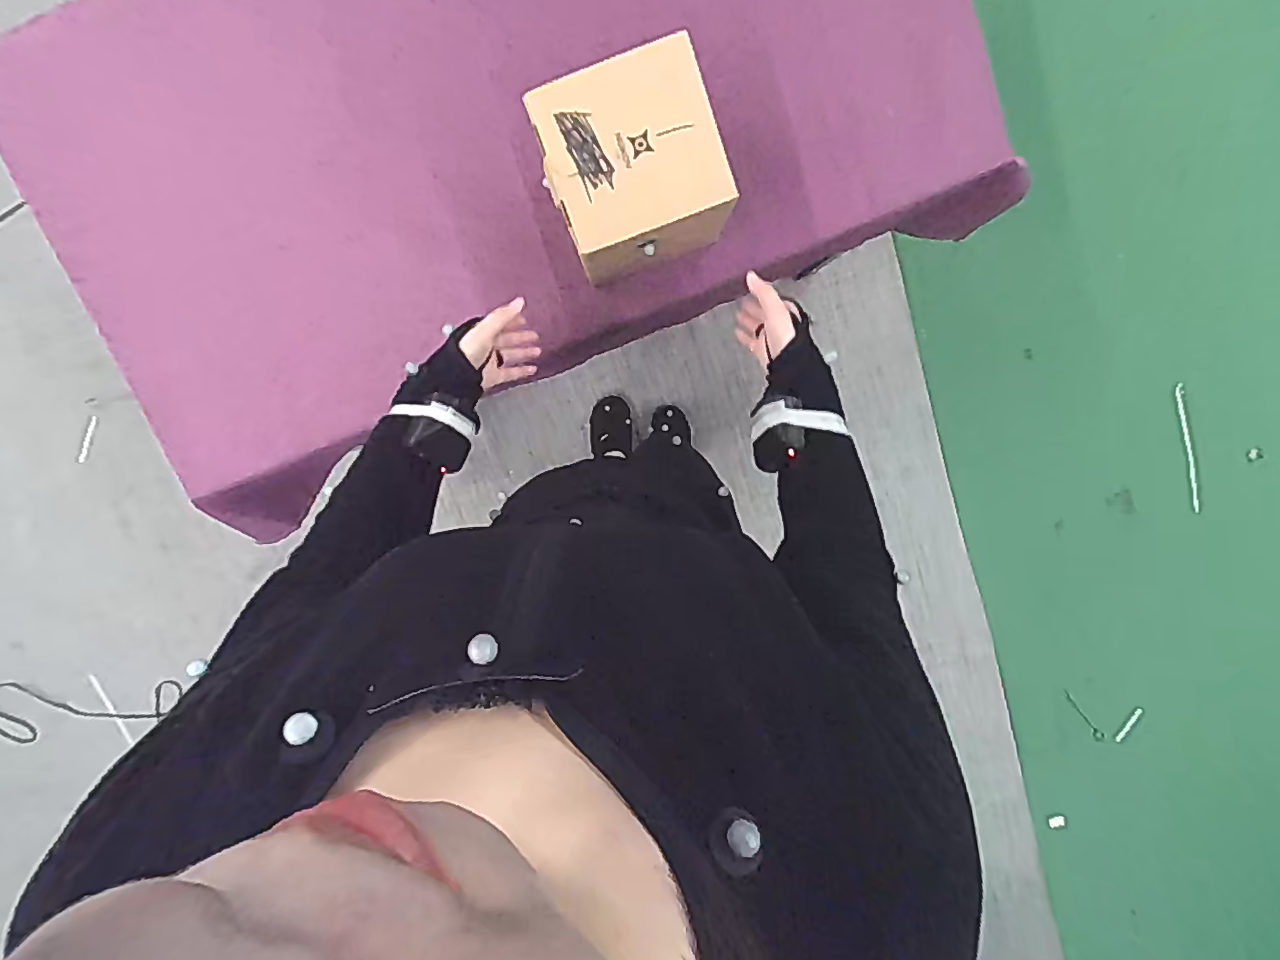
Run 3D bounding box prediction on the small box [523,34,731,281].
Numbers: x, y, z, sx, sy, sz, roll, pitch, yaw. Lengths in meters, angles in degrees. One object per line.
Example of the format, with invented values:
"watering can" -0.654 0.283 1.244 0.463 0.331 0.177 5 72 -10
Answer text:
"small box" -0.012 -0.350 0.627 0.179 0.176 0.168 -19 99 2
